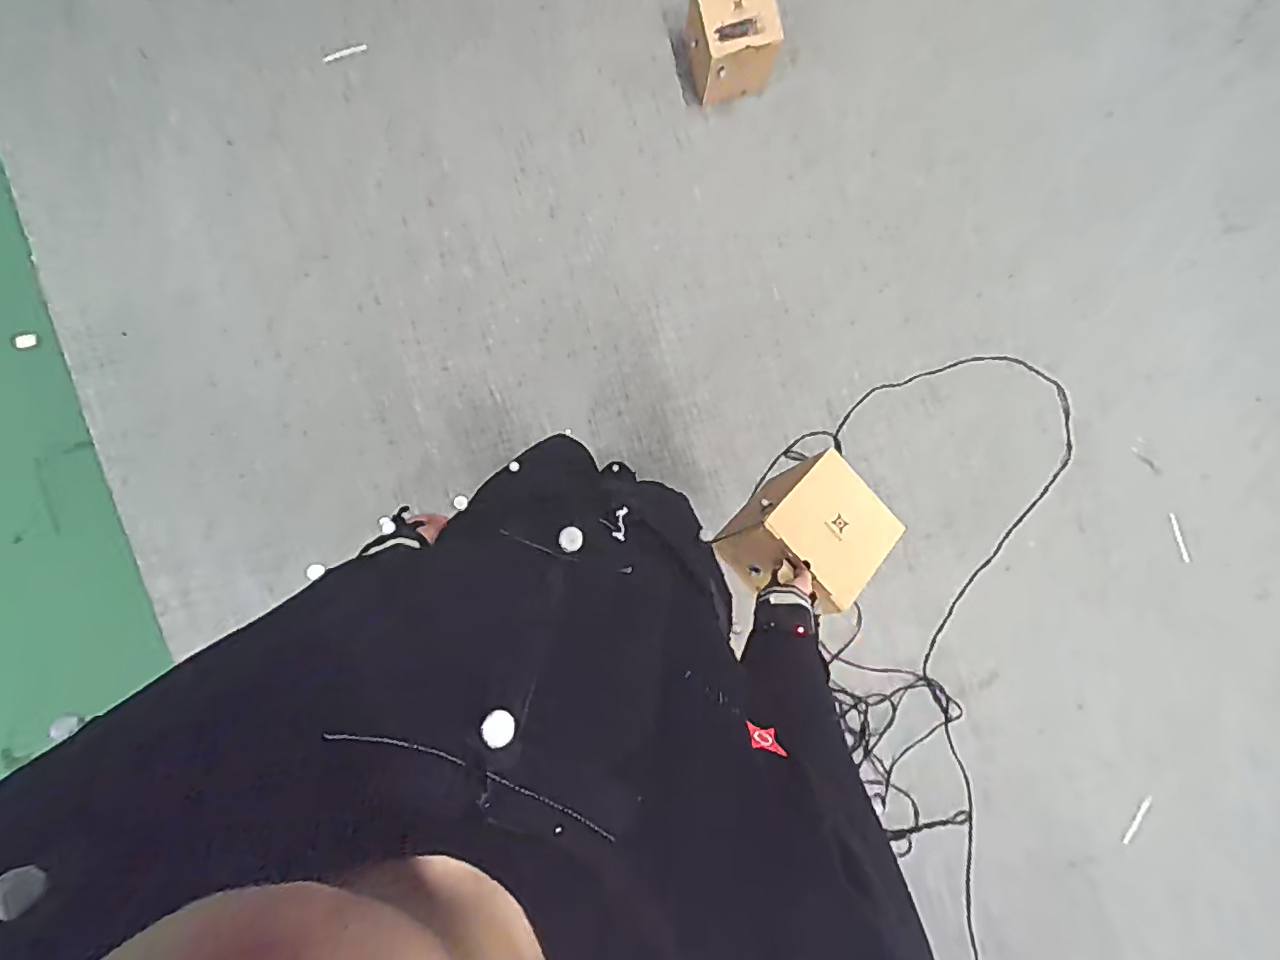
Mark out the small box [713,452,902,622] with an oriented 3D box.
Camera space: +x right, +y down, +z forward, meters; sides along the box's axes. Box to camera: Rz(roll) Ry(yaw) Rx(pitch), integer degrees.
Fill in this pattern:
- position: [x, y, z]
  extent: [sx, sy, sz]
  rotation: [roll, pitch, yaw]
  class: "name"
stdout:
- position: [0.242, 0.091, 0.810]
  extent: [0.168, 0.176, 0.179]
  rotation: [48, 63, -1]
  class: "small box"
